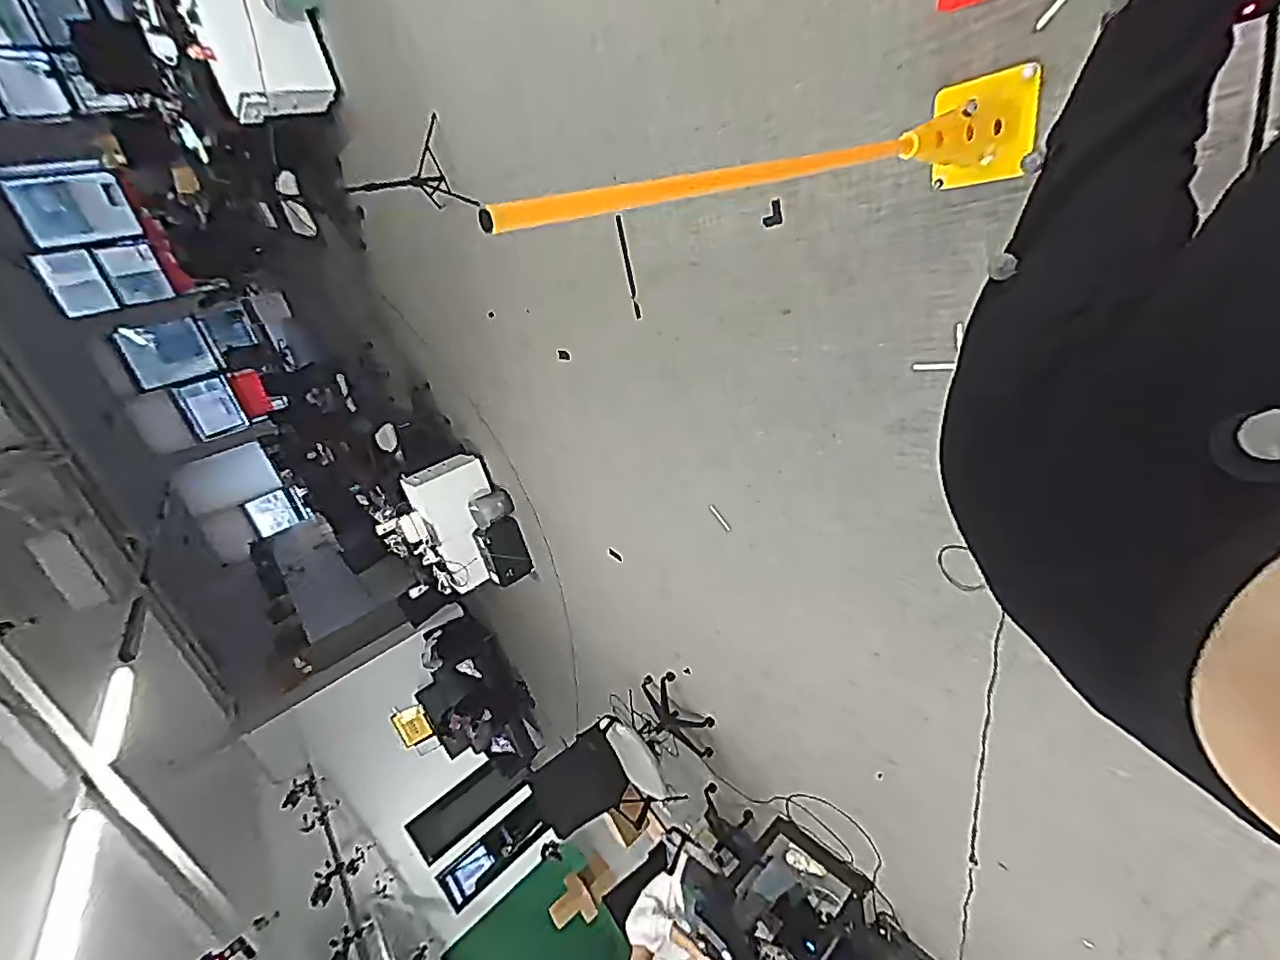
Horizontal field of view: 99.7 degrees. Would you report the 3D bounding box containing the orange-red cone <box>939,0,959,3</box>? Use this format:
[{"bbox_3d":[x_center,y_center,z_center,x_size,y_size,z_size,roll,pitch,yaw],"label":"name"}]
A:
[{"bbox_3d":[0.548,-0.978,0.927,0.198,0.360,0.199,22,131,44],"label":"orange-red cone"}]
